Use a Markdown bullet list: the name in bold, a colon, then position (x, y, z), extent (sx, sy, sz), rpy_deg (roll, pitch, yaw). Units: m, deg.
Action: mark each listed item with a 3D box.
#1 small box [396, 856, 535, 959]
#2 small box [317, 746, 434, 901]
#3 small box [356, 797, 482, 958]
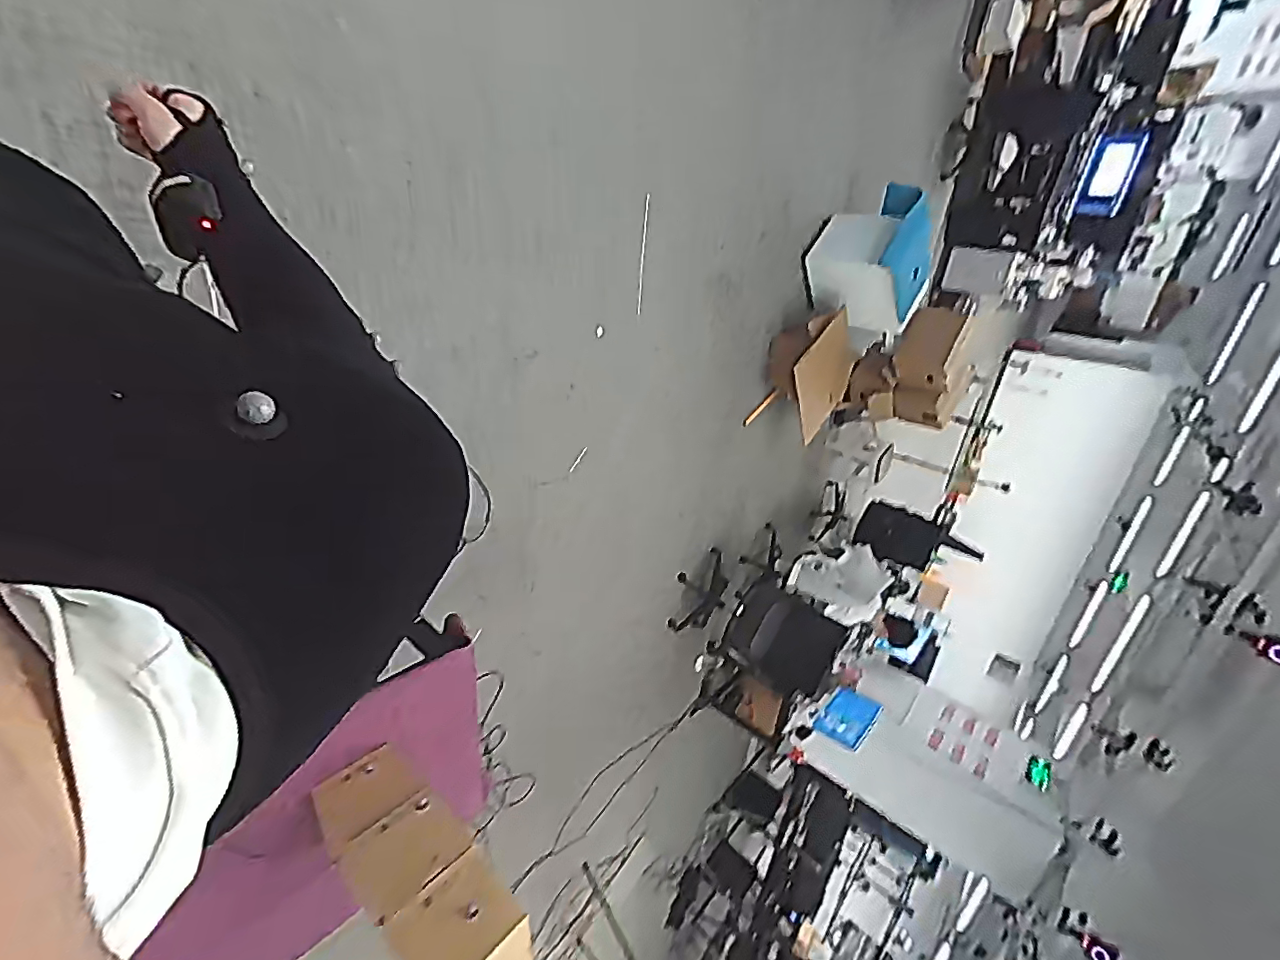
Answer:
- **small box**: position (-0.301, 0.805, 0.938), extent (0.168, 0.176, 0.179), rpy_deg (-26, 130, -44)
- **small box**: position (-0.544, 0.705, 1.129), extent (0.168, 0.176, 0.179), rpy_deg (-23, 126, -45)
- **small box**: position (-0.420, 0.750, 1.033), extent (0.168, 0.176, 0.179), rpy_deg (-23, 128, -45)
